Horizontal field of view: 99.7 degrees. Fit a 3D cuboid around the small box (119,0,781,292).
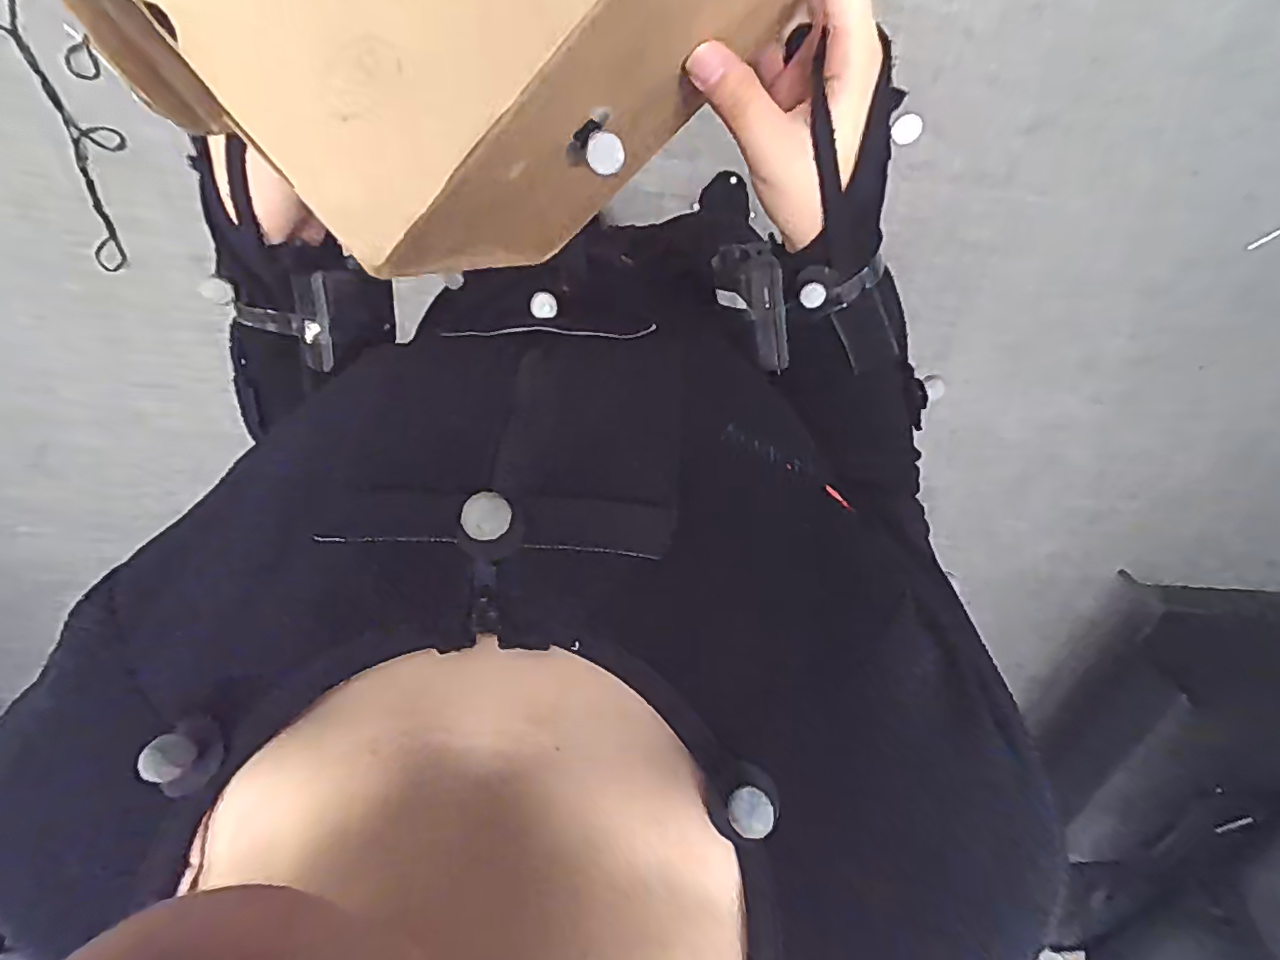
[{"bbox_3d":[-0.055,-0.198,0.204,0.179,0.176,0.168,-37,103,23],"label":"small box"}]
